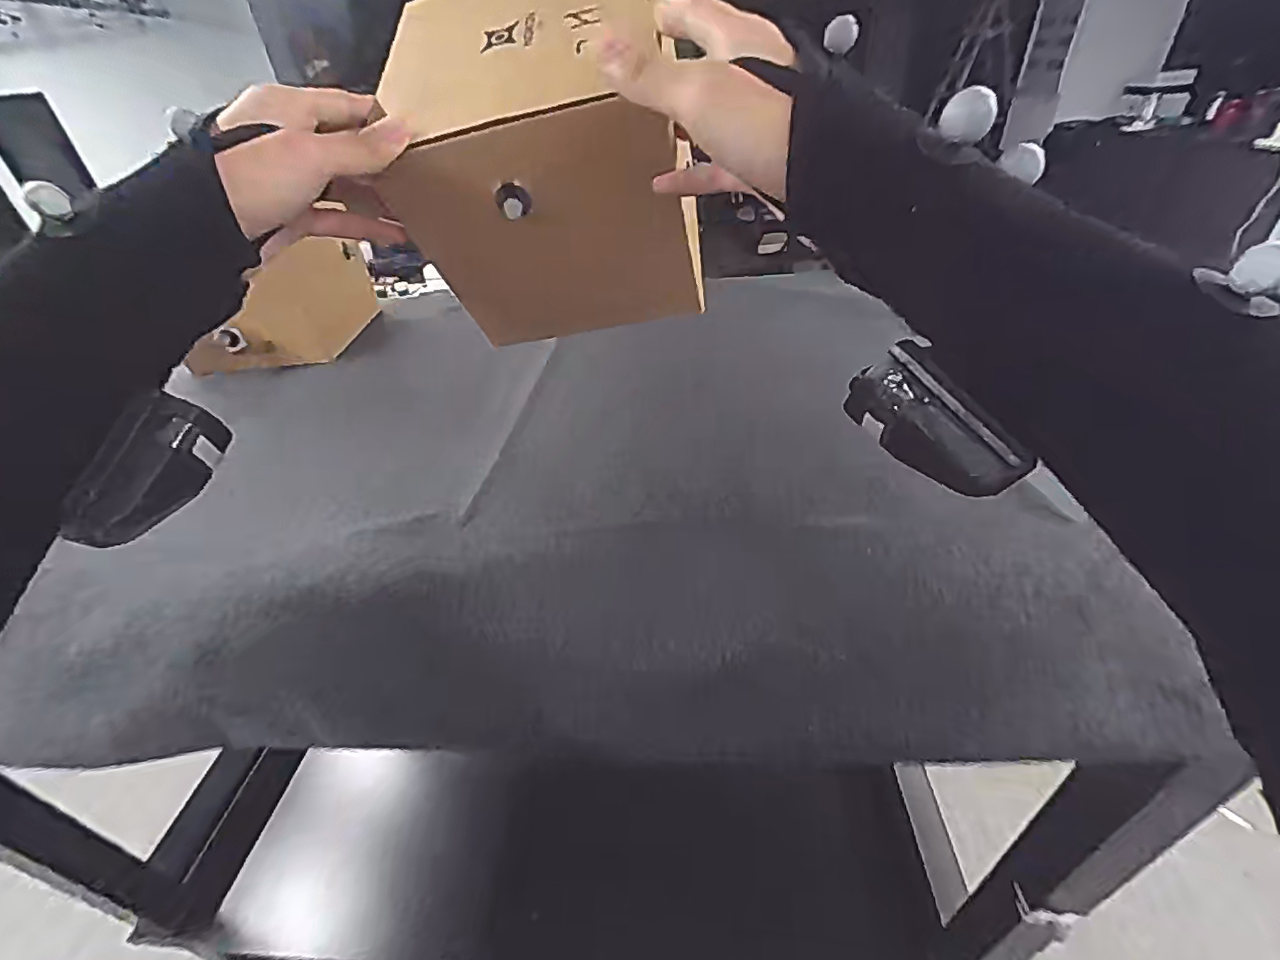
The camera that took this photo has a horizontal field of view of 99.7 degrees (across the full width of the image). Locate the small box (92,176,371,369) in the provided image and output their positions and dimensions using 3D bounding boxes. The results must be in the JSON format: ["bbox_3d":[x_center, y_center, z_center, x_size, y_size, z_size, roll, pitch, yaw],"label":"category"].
[{"bbox_3d":[-0.441,-0.243,0.628,0.168,0.176,0.179,-6,36,0],"label":"small box"}]

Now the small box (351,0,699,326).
[{"bbox_3d":[-0.058,-0.231,0.386,0.179,0.176,0.168,-5,64,12],"label":"small box"}]
